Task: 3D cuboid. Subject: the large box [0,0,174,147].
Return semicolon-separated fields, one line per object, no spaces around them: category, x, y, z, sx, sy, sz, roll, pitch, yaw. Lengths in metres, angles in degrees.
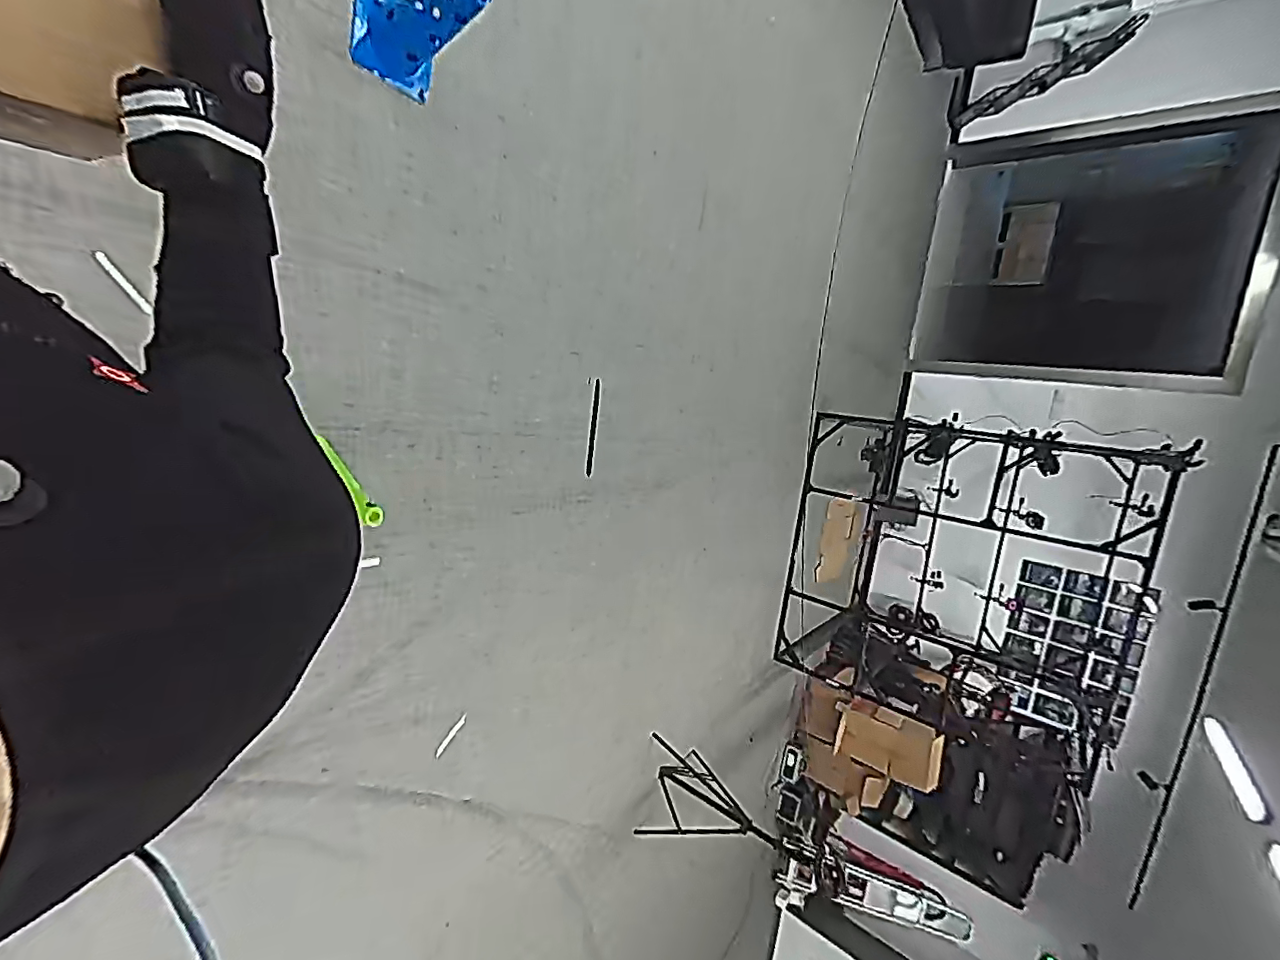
large box;-0.559;-0.429;0.291;0.408;0.320;0.320;-9;114;-54

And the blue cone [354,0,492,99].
blue cone;-0.483;-1.059;1.251;0.192;0.380;0.193;2;100;-54
